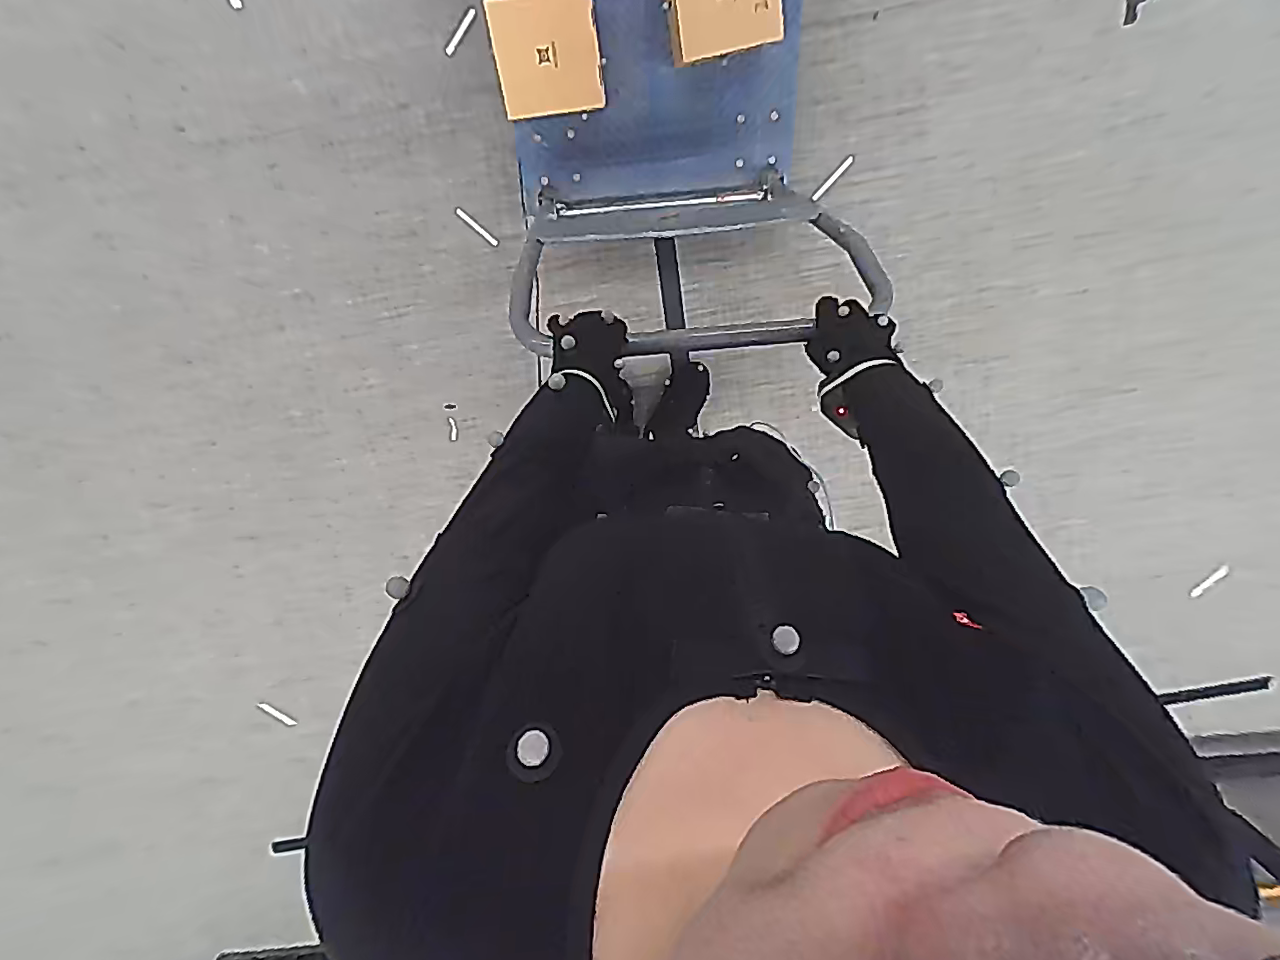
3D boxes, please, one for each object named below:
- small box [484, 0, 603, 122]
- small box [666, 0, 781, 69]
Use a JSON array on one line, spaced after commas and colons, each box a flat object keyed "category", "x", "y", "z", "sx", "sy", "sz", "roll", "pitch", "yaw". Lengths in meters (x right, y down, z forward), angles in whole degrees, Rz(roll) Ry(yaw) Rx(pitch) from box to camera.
[{"category": "small box", "x": -0.163, "y": -0.757, "z": 0.979, "sx": 0.179, "sy": 0.176, "sz": 0.168, "roll": -8, "pitch": 124, "yaw": 1}, {"category": "small box", "x": 0.137, "y": -0.834, "z": 0.938, "sx": 0.179, "sy": 0.176, "sz": 0.168, "roll": -10, "pitch": 125, "yaw": 4}]
